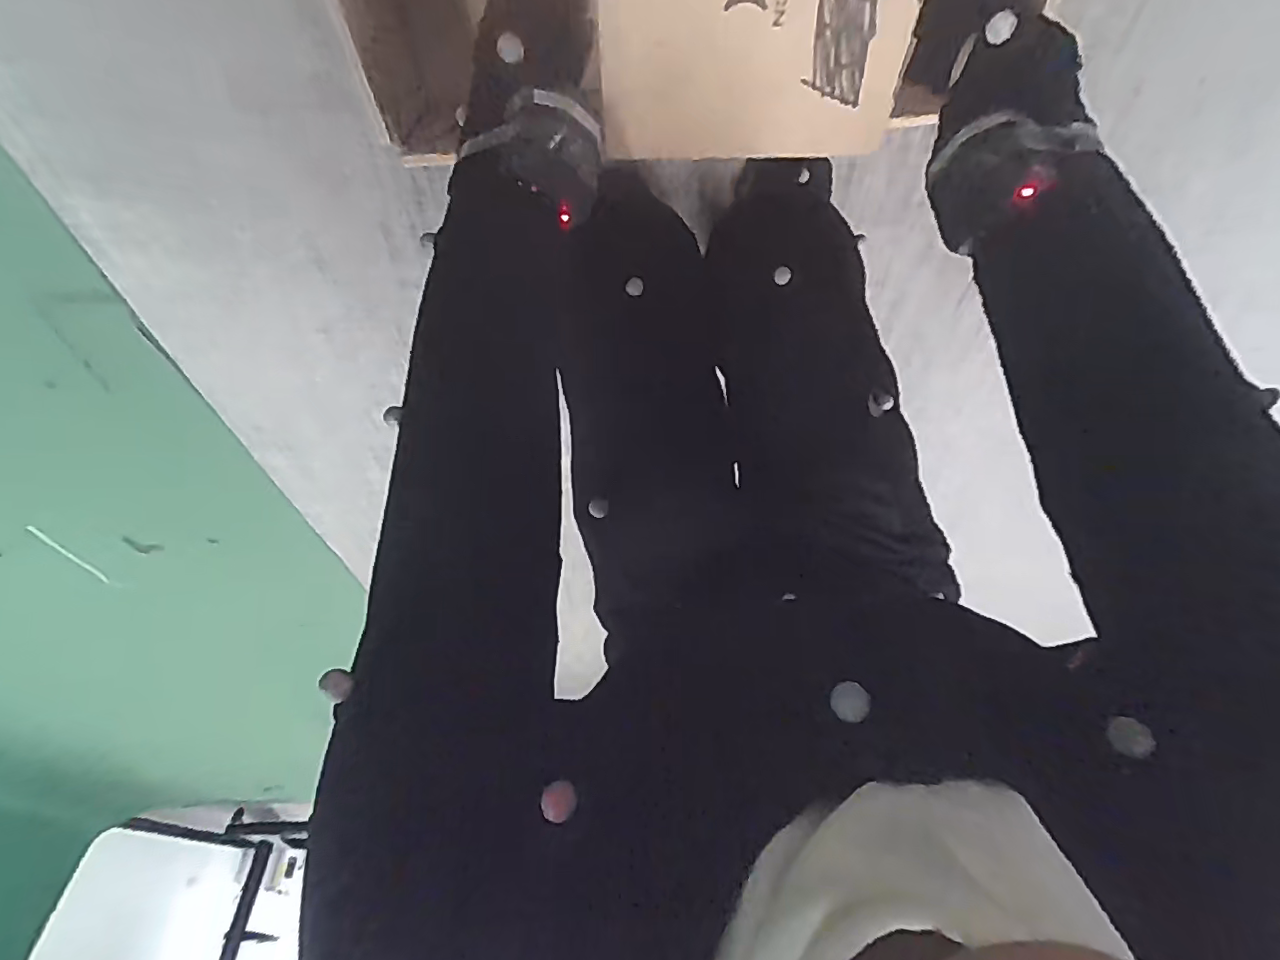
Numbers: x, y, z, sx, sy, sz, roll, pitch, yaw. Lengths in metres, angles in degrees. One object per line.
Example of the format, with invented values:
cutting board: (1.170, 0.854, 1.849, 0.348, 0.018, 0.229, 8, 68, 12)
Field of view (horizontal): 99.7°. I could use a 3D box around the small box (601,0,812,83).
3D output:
small box: (0.051, -0.453, 0.436, 0.168, 0.176, 0.179, -2, 142, 1)
